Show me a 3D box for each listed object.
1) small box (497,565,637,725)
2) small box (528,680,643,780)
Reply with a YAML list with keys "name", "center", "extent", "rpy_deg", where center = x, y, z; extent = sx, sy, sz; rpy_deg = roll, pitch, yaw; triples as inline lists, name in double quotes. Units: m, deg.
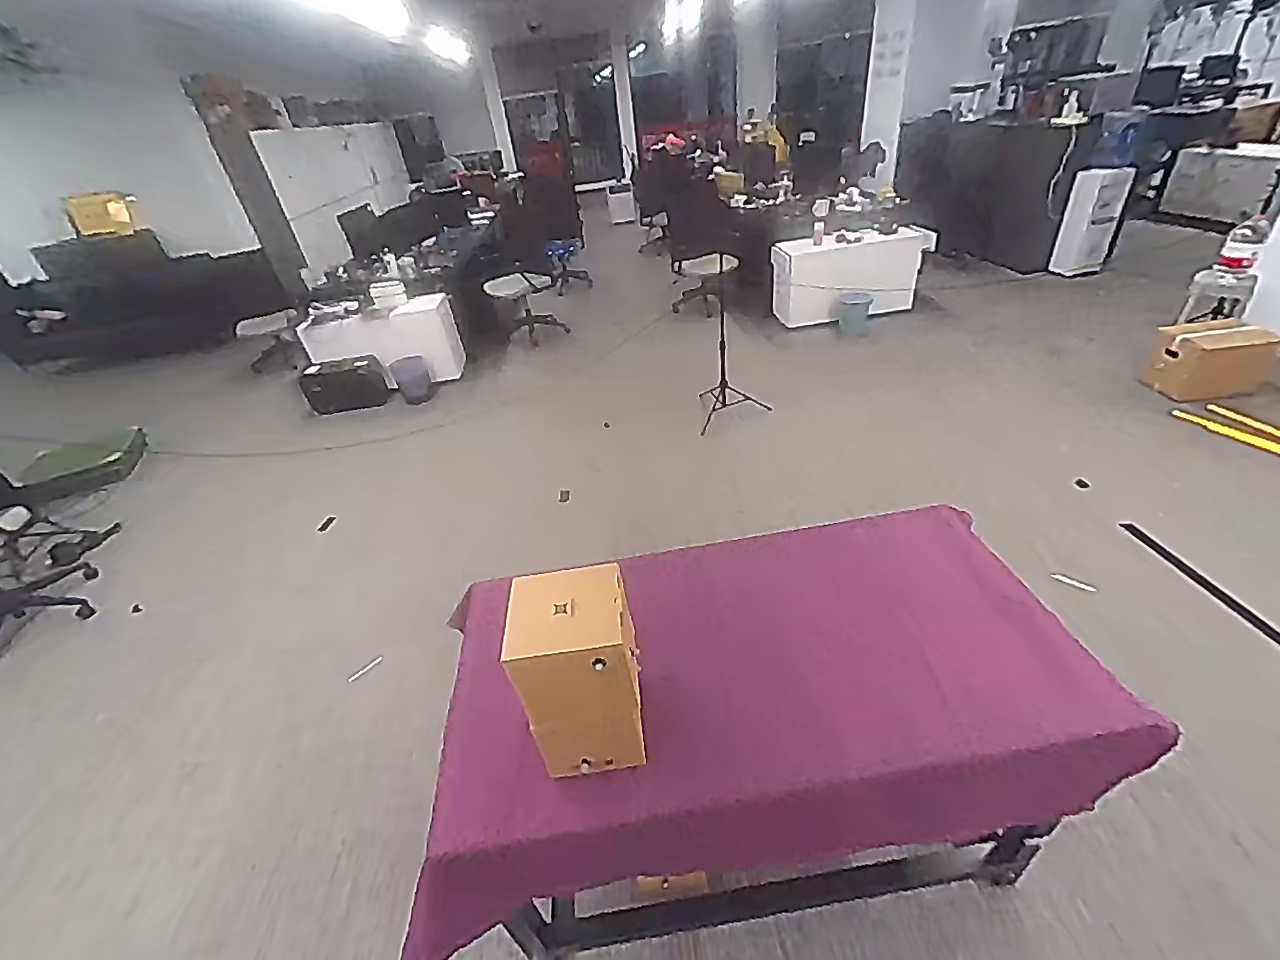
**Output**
- name: "small box"
  center: [-0.106, 0.261, 0.849]
  extent: [0.179, 0.176, 0.168]
  rpy_deg: [-8, 35, 1]
- name: "small box"
  center: [-0.090, 0.389, 0.947]
  extent: [0.168, 0.176, 0.179]
  rpy_deg: [-9, 35, 0]
